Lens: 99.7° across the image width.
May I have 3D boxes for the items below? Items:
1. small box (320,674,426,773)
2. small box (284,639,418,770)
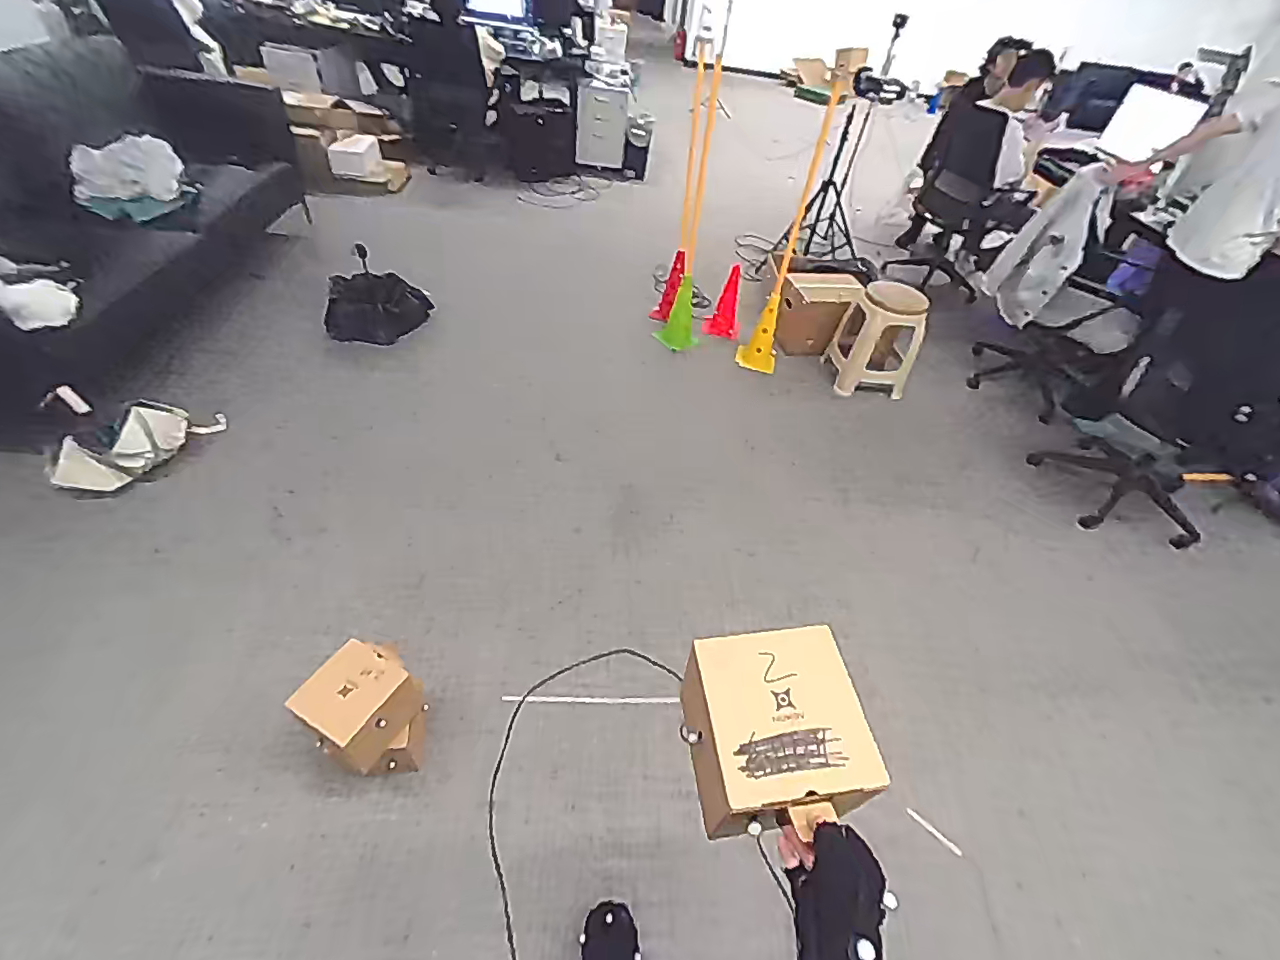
[{"bbox_3d":[-0.619,0.579,1.283,0.179,0.176,0.168,0,45,-8],"label":"small box"},{"bbox_3d":[-0.609,0.487,1.167,0.168,0.176,0.179,25,47,15],"label":"small box"}]
